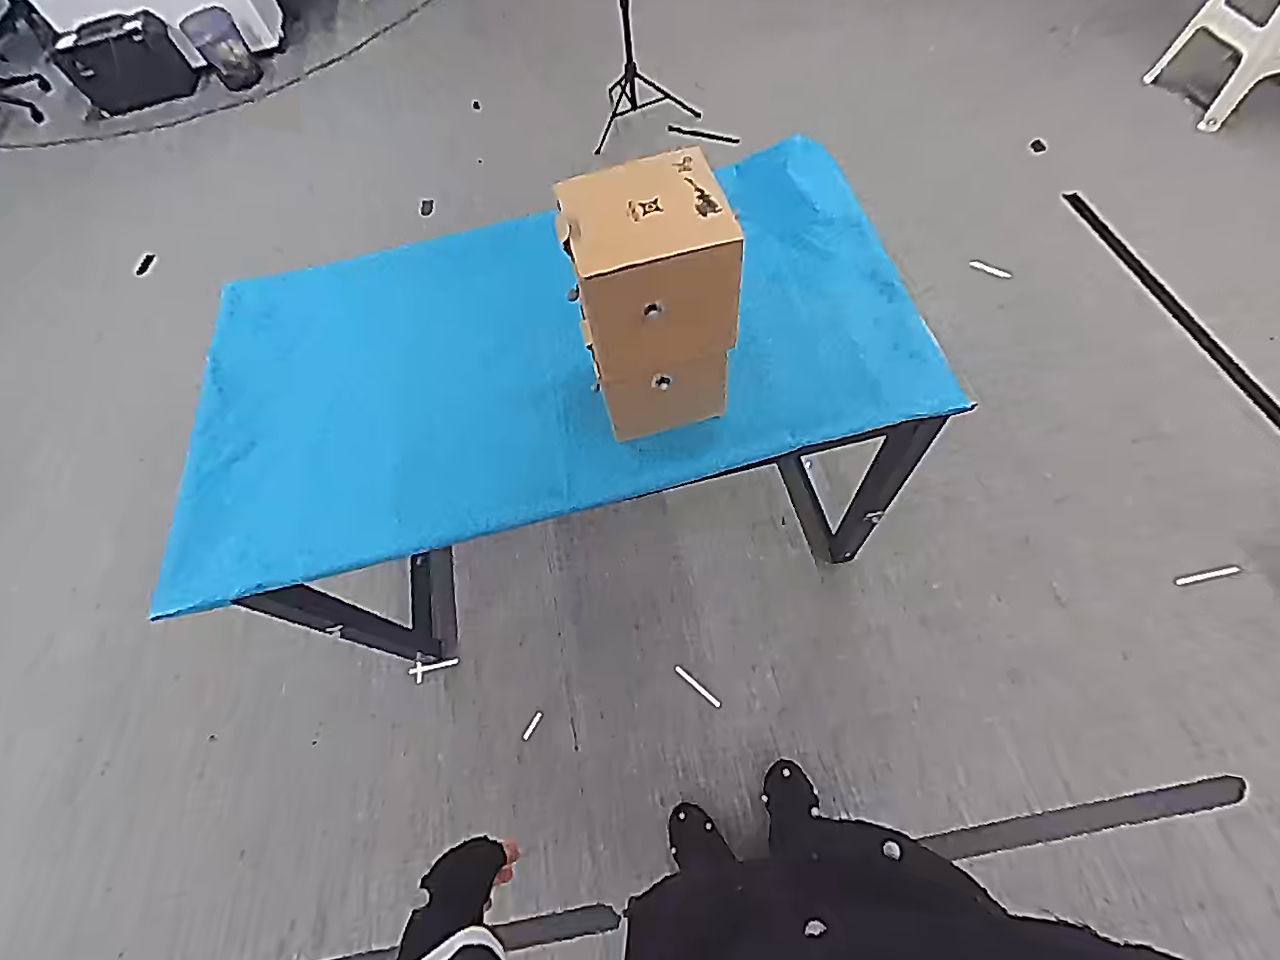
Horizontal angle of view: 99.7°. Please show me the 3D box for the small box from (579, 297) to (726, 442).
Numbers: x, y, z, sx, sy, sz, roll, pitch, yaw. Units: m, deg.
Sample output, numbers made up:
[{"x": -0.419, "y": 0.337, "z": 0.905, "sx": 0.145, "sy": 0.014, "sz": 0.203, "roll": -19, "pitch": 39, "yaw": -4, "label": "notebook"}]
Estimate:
[{"x": 0.023, "y": -0.177, "z": 0.799, "sx": 0.179, "sy": 0.176, "sz": 0.168, "roll": -15, "pitch": 63, "yaw": 1, "label": "small box"}]

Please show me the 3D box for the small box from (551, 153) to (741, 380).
[{"x": 0.011, "y": -0.246, "z": 0.652, "sx": 0.179, "sy": 0.176, "sz": 0.168, "roll": -18, "pitch": 62, "yaw": -2, "label": "small box"}]
